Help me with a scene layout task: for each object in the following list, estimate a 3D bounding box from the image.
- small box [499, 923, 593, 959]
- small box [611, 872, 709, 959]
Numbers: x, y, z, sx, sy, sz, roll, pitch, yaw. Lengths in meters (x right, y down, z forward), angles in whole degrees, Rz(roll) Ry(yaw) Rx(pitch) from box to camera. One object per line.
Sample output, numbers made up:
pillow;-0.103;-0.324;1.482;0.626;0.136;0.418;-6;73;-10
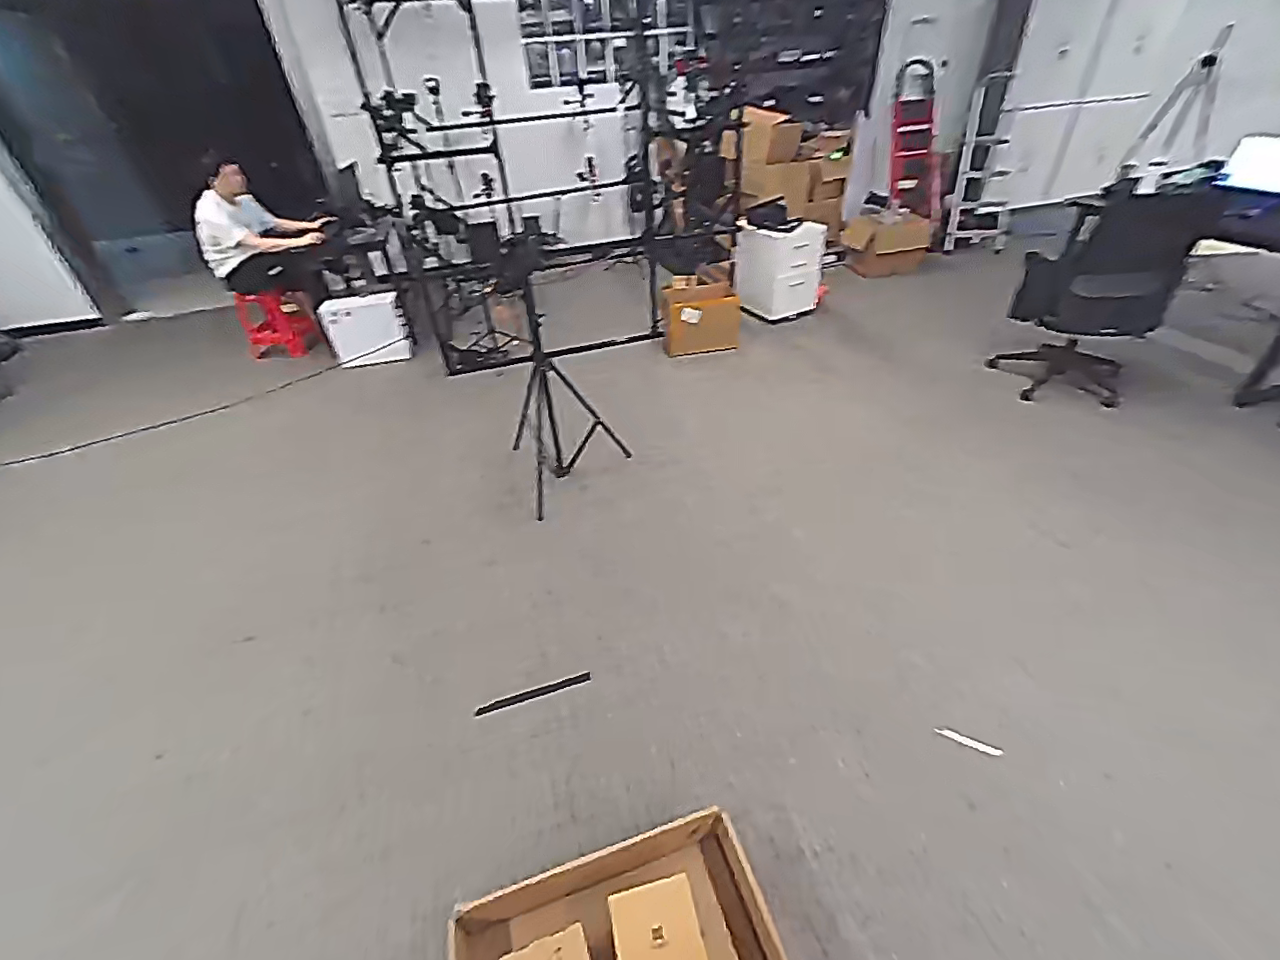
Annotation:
small box;-0.159;0.997;1.023;0.168;0.176;0.179;-14;39;-15
small box;0.040;0.936;1.086;0.168;0.176;0.179;-11;38;-8
